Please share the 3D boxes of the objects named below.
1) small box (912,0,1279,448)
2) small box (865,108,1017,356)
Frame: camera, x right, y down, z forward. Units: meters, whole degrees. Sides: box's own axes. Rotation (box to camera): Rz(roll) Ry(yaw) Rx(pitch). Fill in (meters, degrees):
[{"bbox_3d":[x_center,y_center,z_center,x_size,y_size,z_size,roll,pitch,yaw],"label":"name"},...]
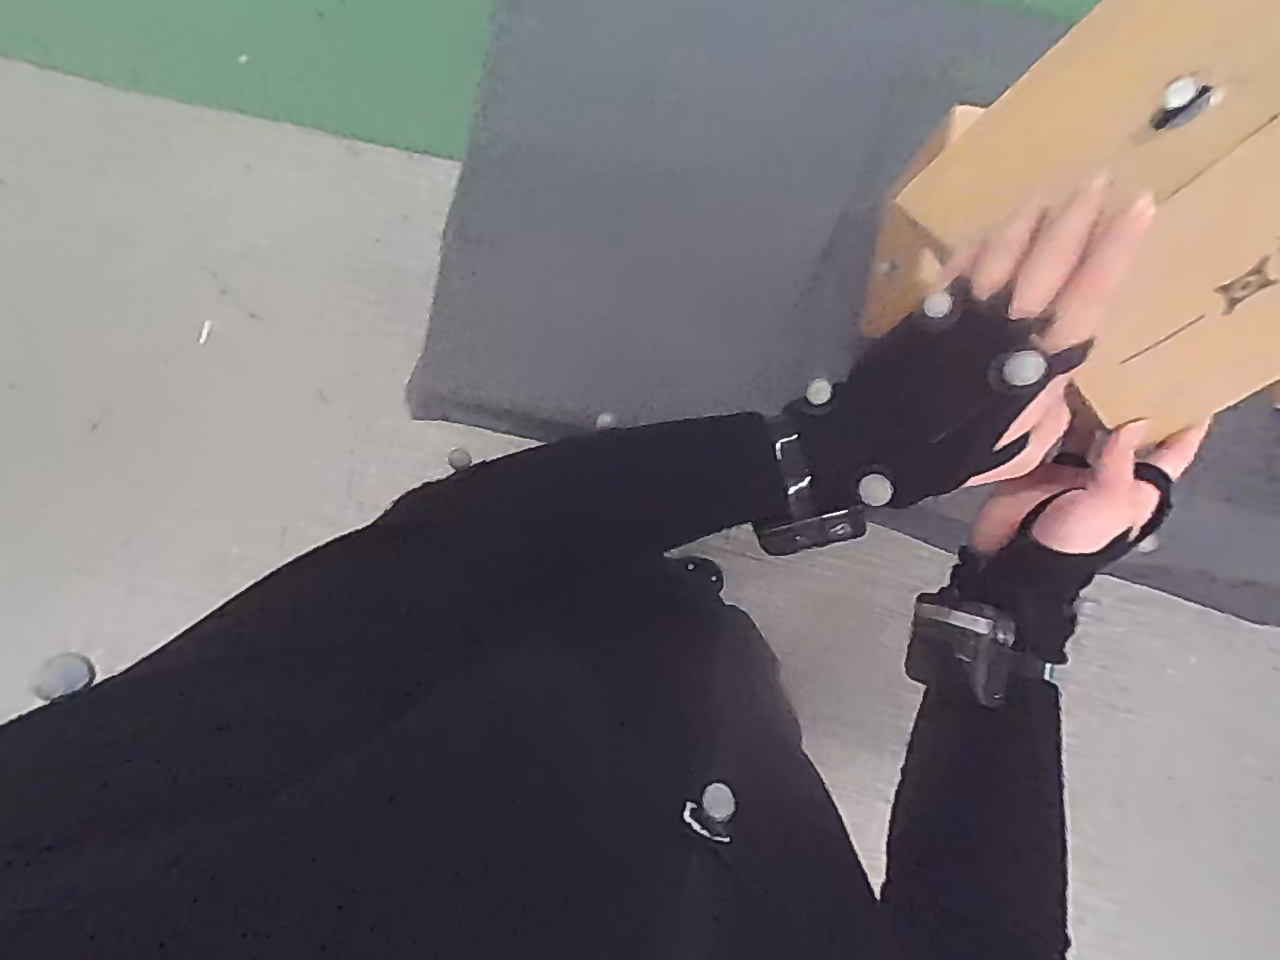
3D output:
[{"bbox_3d":[0.303,-0.159,0.315,0.168,0.176,0.179,31,123,-27],"label":"small box"},{"bbox_3d":[0.361,-0.247,0.581,0.168,0.176,0.179,11,87,3],"label":"small box"}]
